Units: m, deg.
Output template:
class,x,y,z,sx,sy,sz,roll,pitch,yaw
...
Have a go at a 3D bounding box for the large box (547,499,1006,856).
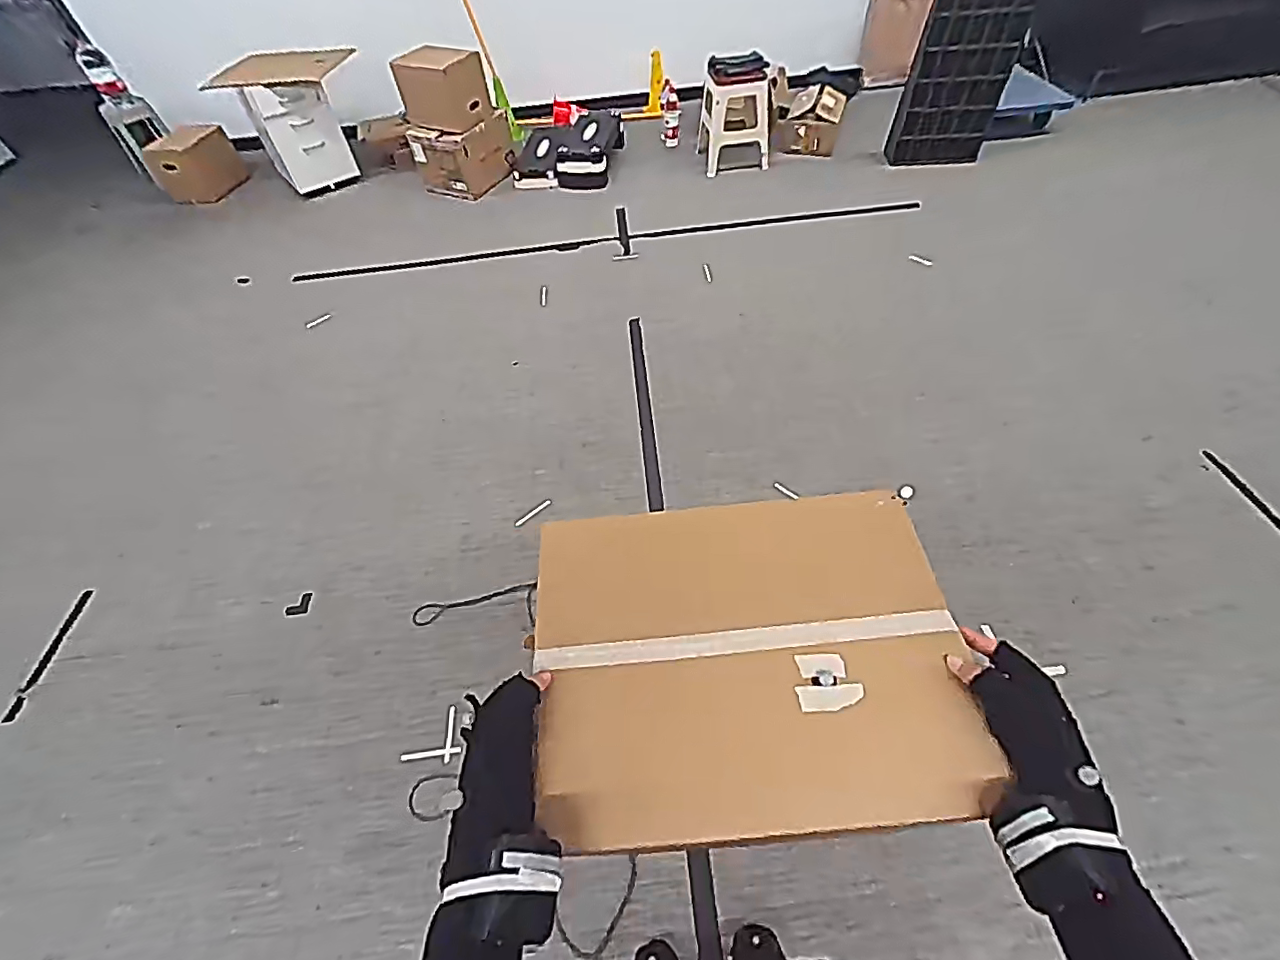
class,x,y,z,sx,sy,sz,roll,pitch,yaw
large box,0.112,0.253,0.664,0.408,0.320,0.320,-6,55,1
